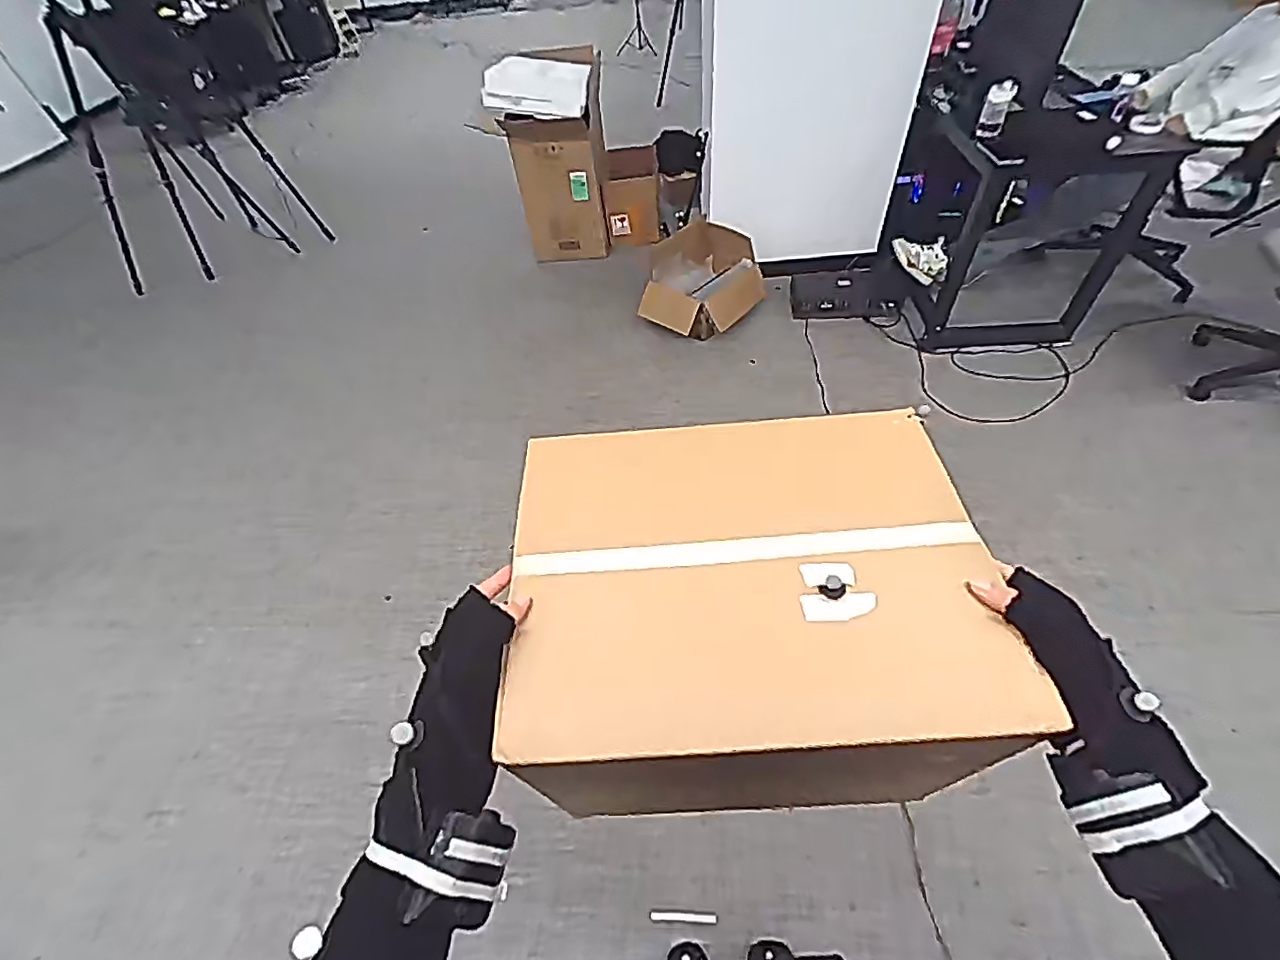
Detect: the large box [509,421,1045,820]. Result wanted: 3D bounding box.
[{"bbox_3d":[0.100,0.165,0.602,0.408,0.320,0.320,-4,51,2],"label":"large box"}]
